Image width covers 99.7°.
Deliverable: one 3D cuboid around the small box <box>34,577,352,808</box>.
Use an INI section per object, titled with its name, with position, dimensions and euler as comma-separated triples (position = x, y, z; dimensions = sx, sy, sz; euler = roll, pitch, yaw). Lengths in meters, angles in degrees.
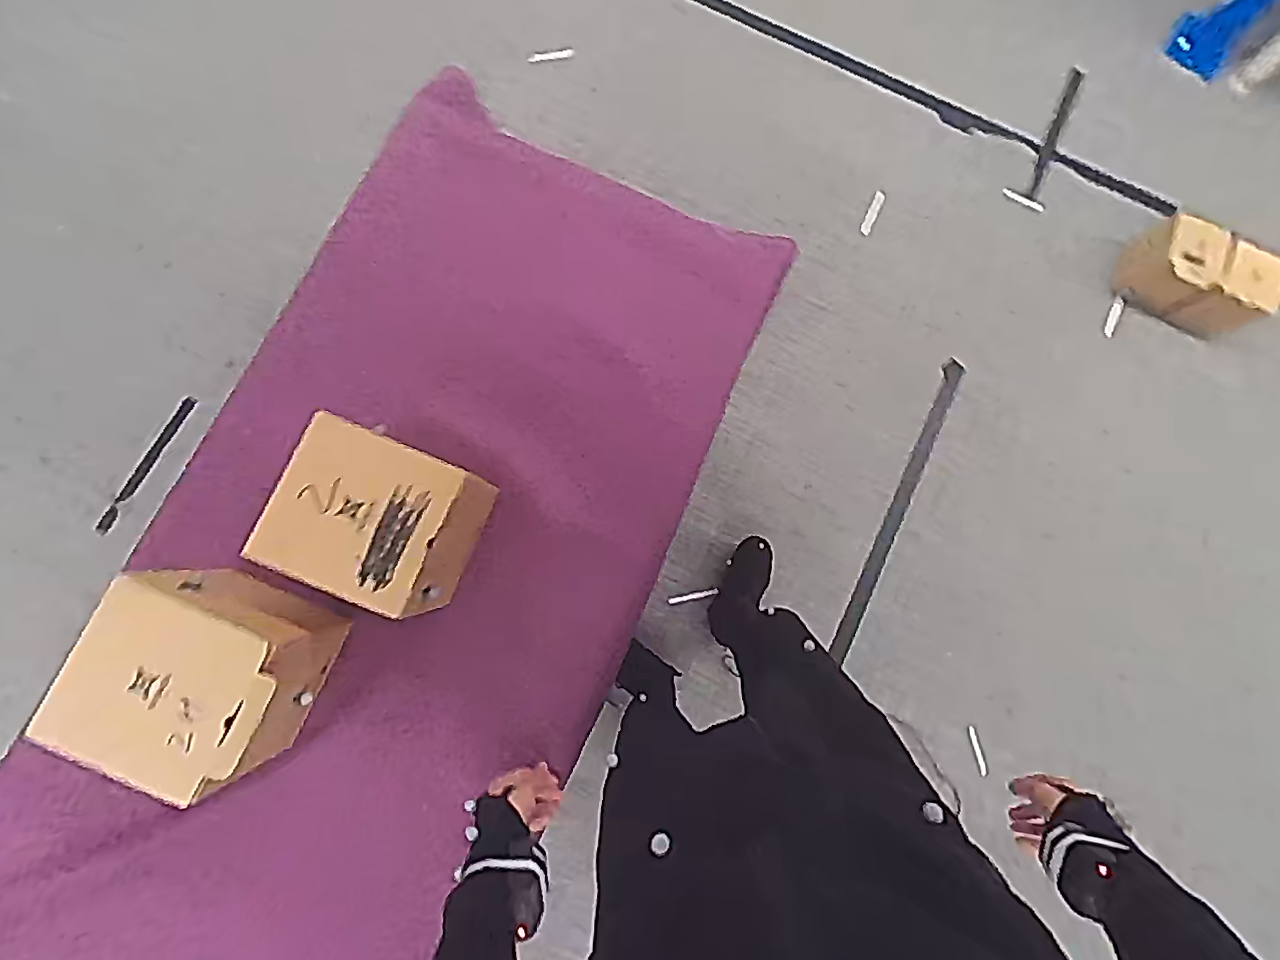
[small box]
position = -0.470, 0.217, 0.603
dimensions = 0.179, 0.176, 0.168
euler = 23, 82, 0
